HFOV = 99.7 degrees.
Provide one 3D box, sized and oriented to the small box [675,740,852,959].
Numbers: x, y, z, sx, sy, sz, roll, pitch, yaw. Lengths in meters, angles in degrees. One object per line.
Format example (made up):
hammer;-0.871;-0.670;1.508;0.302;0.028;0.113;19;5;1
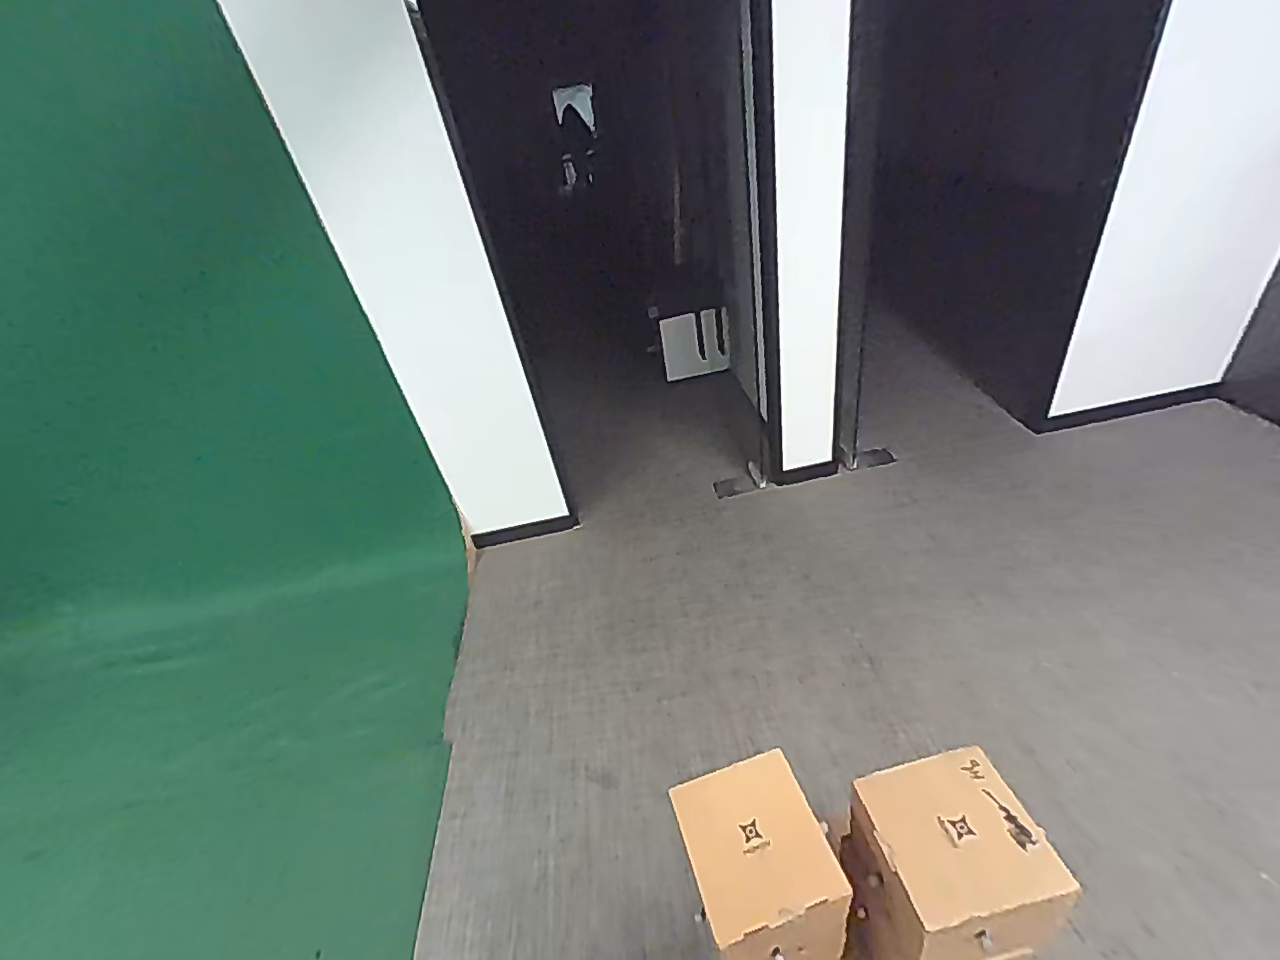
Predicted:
small box;0.156;0.494;0.723;0.168;0.176;0.179;-17;37;-8
